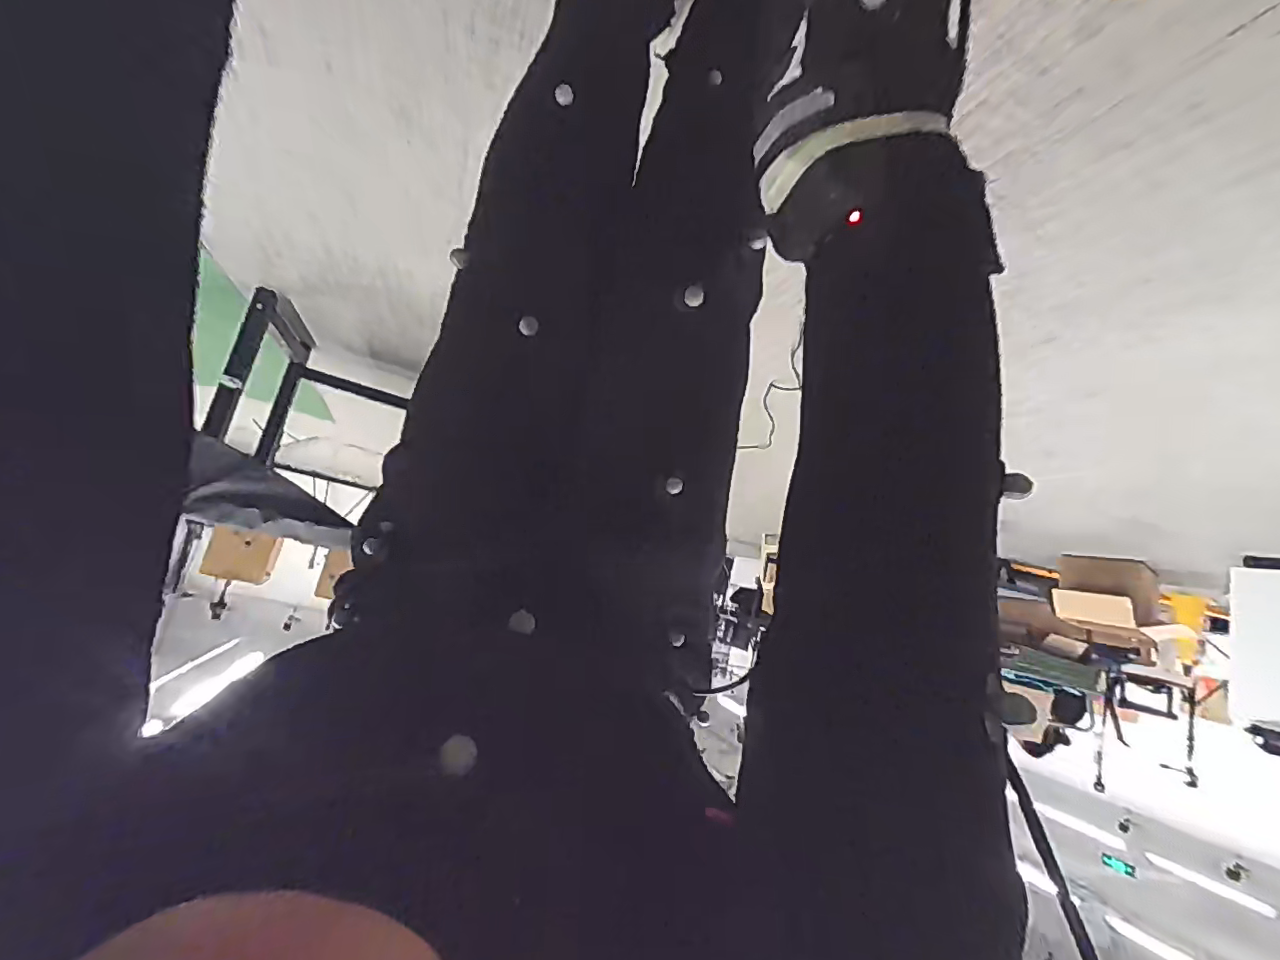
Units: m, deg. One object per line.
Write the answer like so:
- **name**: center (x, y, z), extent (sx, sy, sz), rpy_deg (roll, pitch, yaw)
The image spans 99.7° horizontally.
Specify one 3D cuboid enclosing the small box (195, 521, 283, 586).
- **small box**: center (-1.268, 0.229, 1.724), extent (0.168, 0.176, 0.179), rpy_deg (18, 168, -23)
